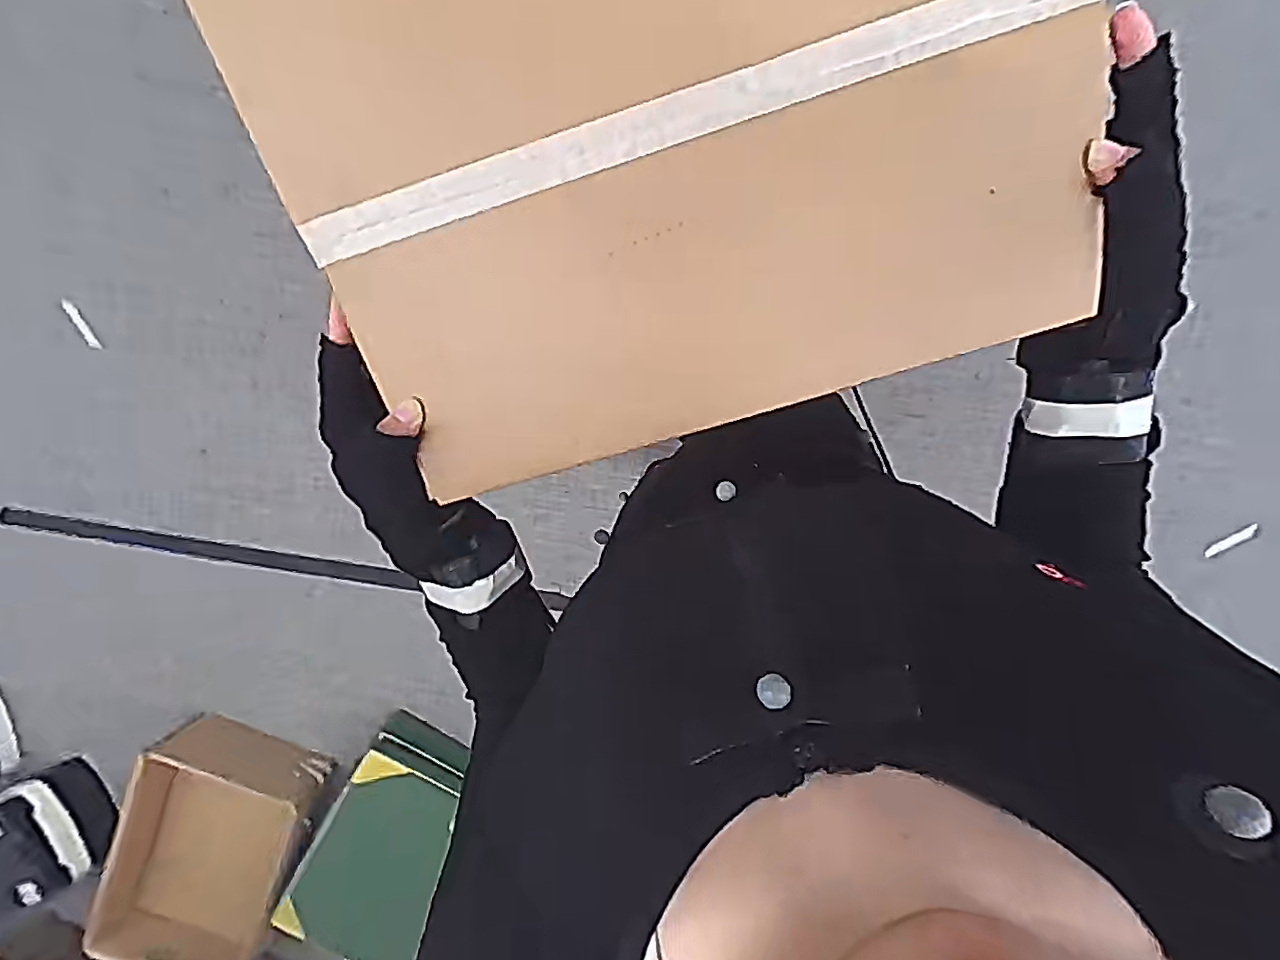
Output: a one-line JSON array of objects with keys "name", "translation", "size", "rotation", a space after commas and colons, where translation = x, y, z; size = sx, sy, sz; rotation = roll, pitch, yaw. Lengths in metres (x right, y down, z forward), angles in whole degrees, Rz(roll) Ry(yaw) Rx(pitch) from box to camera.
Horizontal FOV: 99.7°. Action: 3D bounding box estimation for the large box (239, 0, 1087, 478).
[{"name": "large box", "translation": [0.022, -0.240, 0.420], "size": [0.408, 0.320, 0.320], "rotation": [-15, 112, 4]}]
